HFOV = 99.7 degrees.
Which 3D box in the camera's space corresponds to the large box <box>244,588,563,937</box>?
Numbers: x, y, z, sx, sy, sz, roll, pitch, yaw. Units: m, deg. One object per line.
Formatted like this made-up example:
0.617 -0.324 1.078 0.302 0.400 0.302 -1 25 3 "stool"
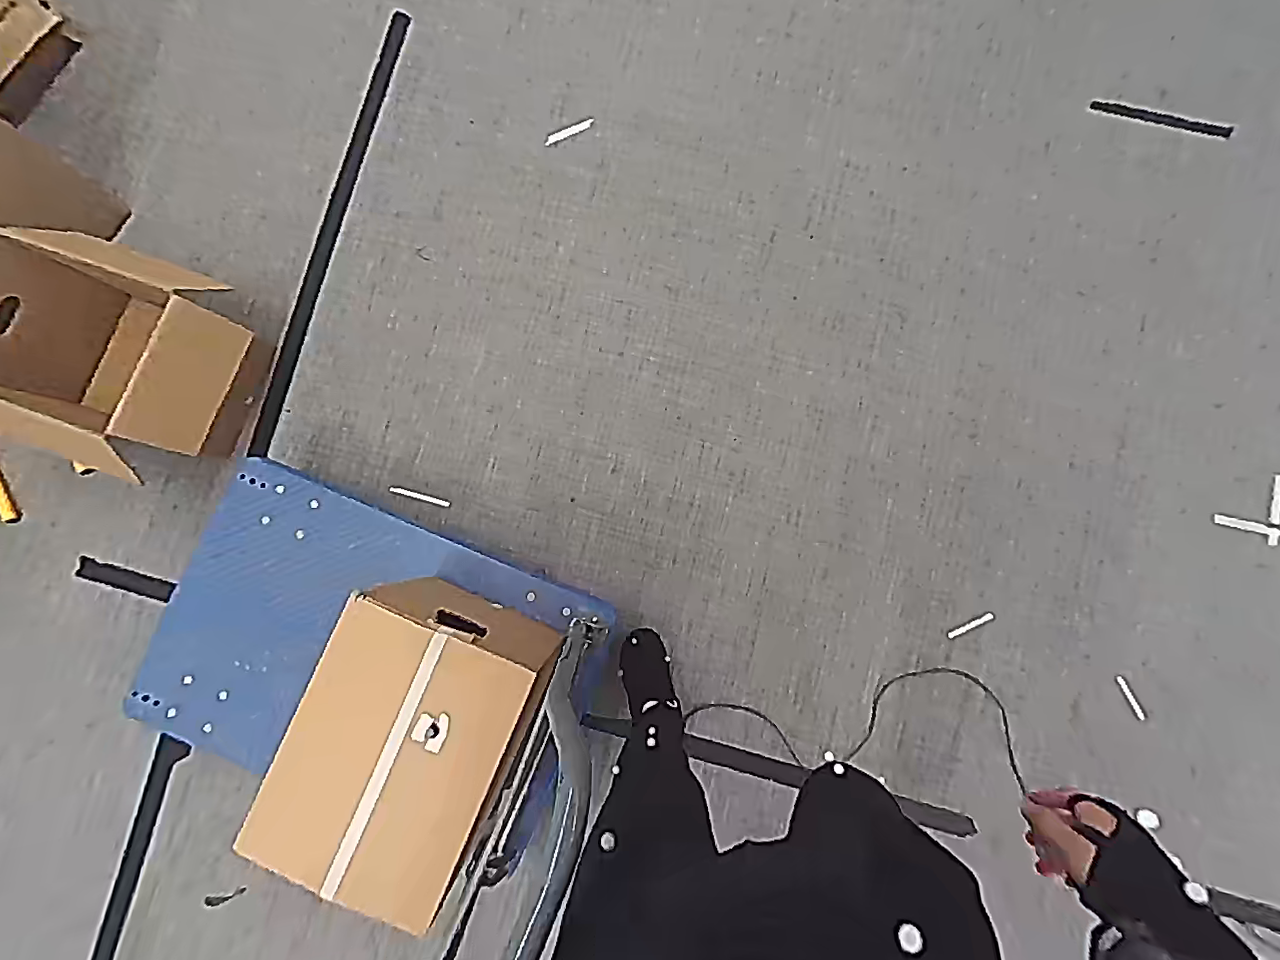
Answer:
-0.369 0.441 0.952 0.320 0.320 0.408 22 83 2 "large box"
